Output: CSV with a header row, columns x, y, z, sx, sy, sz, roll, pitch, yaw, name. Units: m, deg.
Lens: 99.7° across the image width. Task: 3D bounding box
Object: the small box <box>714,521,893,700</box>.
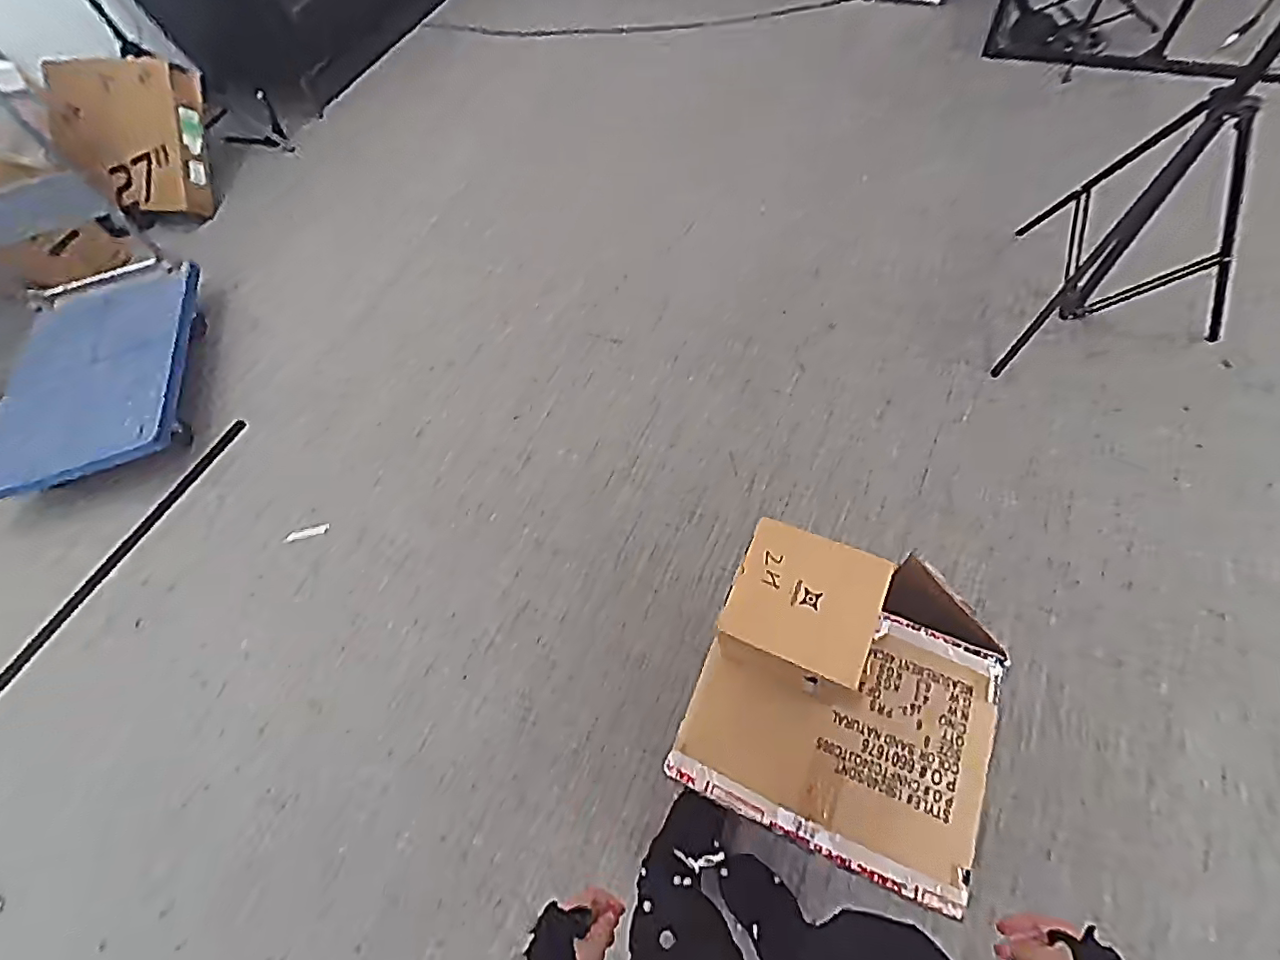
x,y,z,sx,sy,sz,roll,pitch,yaw,name
0.217,0.185,0.741,0.179,0.176,0.168,20,68,21,small box
